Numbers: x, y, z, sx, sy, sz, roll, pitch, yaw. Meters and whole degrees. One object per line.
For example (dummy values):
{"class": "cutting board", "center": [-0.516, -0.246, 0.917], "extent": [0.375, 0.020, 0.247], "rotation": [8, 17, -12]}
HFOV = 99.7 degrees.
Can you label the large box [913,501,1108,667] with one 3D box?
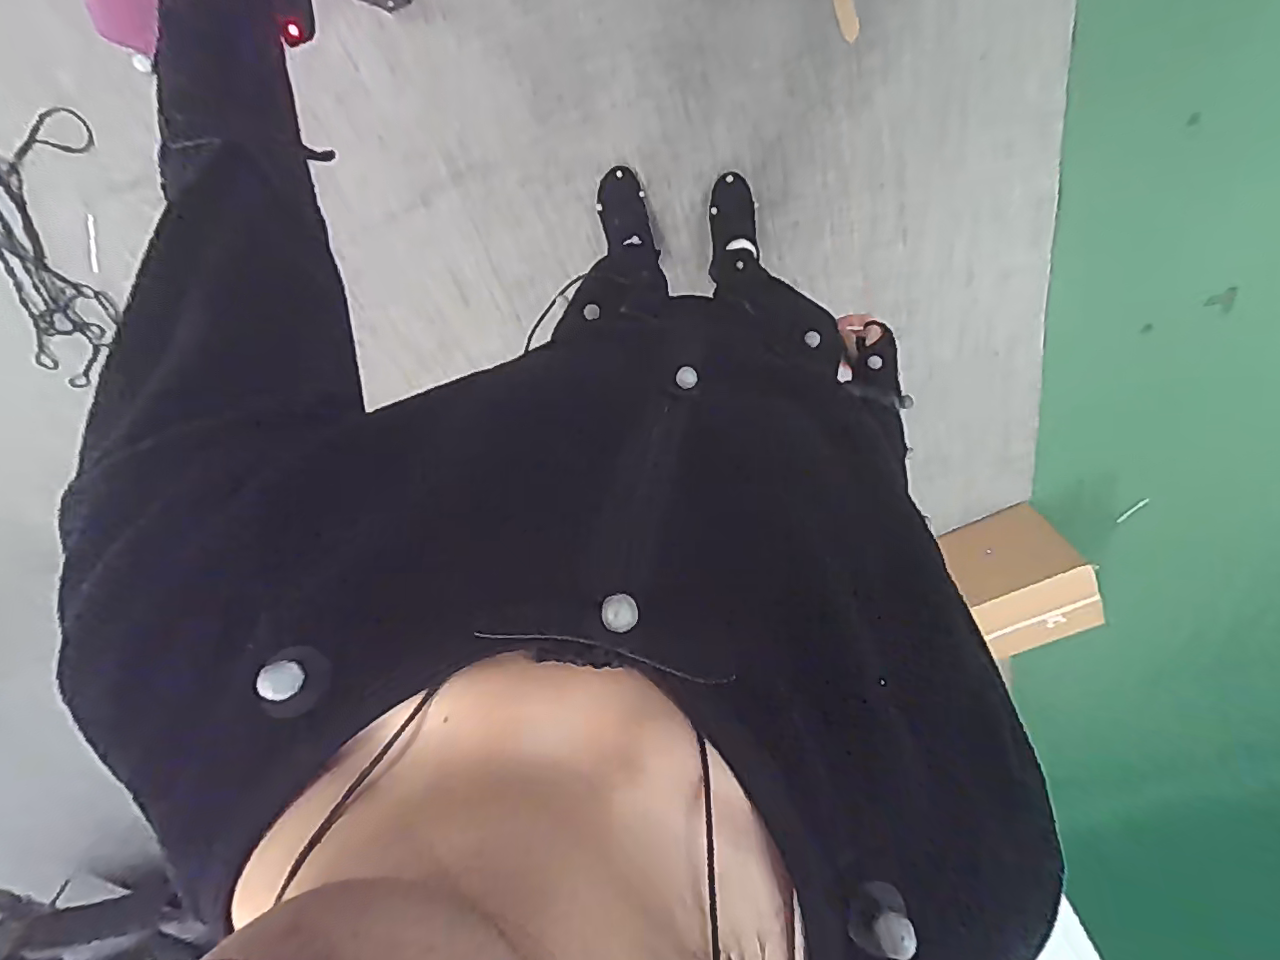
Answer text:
{"class": "large box", "center": [1.207, 0.341, 1.790], "extent": [0.408, 0.320, 0.320], "rotation": [-29, 121, 16]}
